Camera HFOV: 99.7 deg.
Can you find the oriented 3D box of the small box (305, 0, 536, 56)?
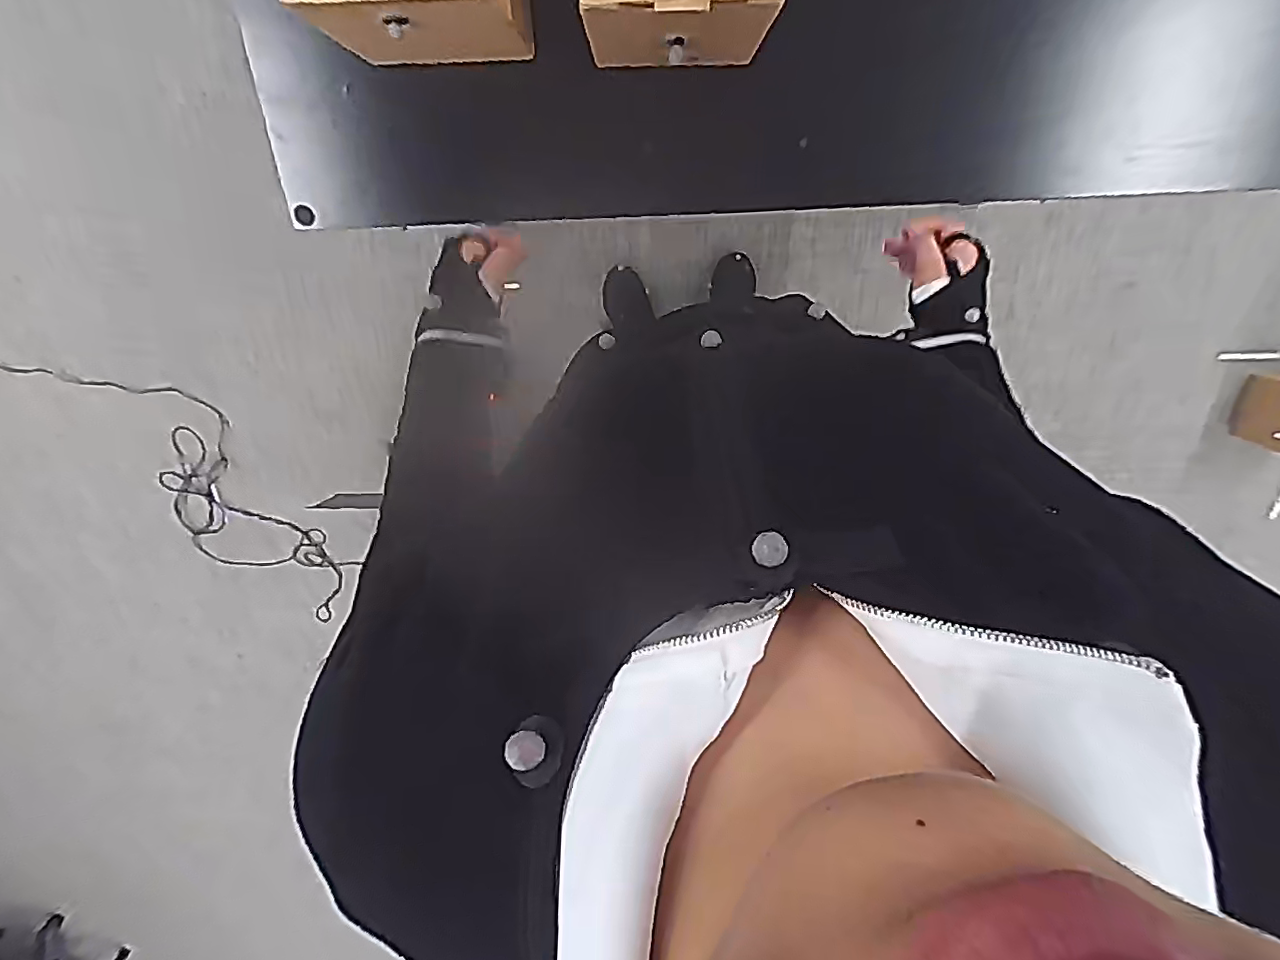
[{"bbox_3d":[-0.199,-0.493,0.471,0.179,0.176,0.168,-1,115,1],"label":"small box"}]

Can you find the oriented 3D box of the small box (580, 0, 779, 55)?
[{"bbox_3d":[0.034,-0.493,0.468,0.168,0.176,0.179,-1,115,0],"label":"small box"}]

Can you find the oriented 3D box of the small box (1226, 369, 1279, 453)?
[{"bbox_3d":[1.680,-0.180,1.383,0.168,0.176,0.179,-3,114,2],"label":"small box"}]
